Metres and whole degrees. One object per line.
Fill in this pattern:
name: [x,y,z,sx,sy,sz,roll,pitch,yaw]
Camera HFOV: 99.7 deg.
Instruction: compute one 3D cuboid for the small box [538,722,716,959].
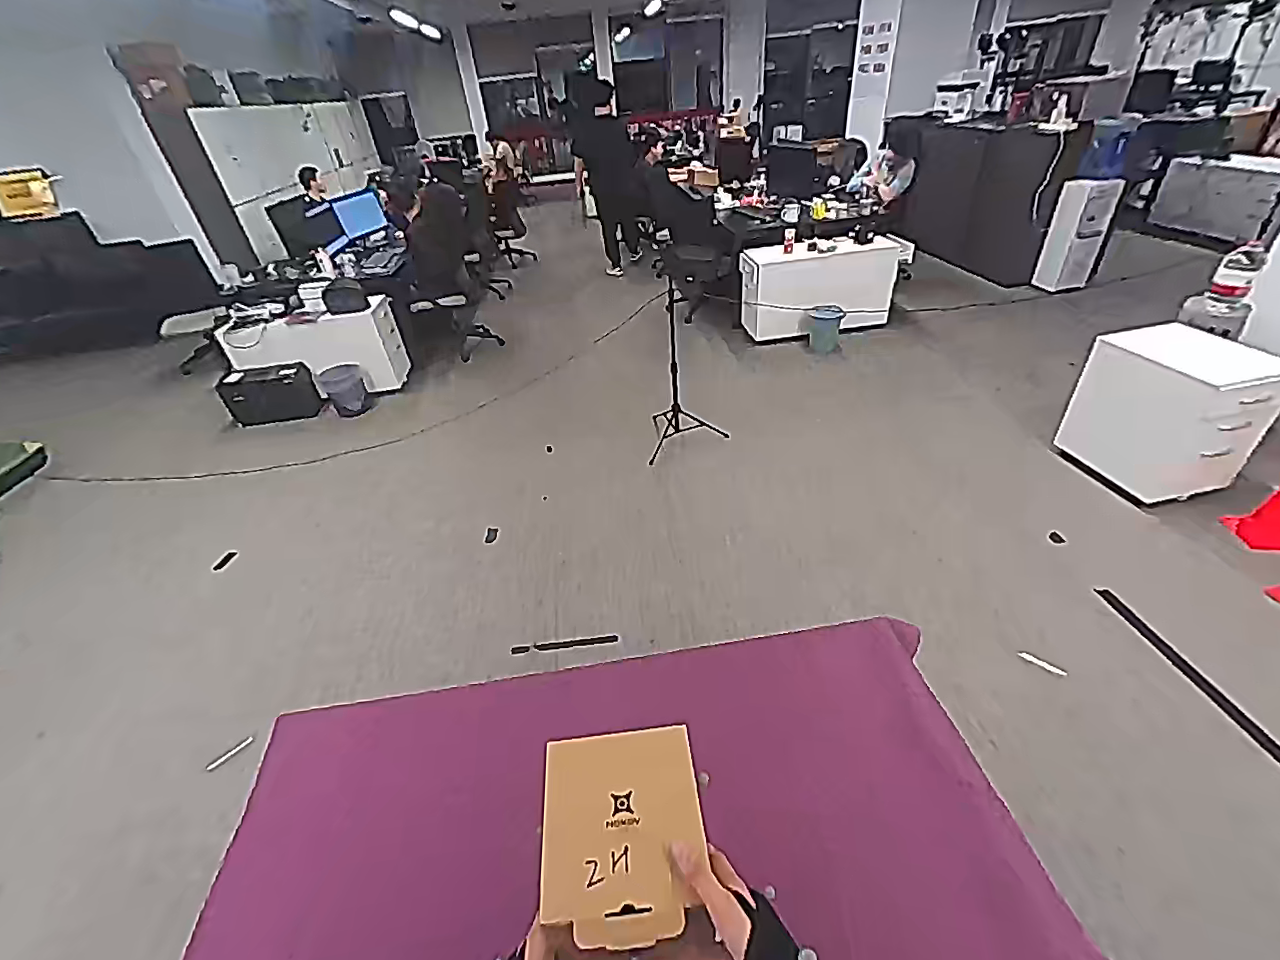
small box: [-0.013,0.406,0.606,0.168,0.176,0.179,-7,36,-1]
